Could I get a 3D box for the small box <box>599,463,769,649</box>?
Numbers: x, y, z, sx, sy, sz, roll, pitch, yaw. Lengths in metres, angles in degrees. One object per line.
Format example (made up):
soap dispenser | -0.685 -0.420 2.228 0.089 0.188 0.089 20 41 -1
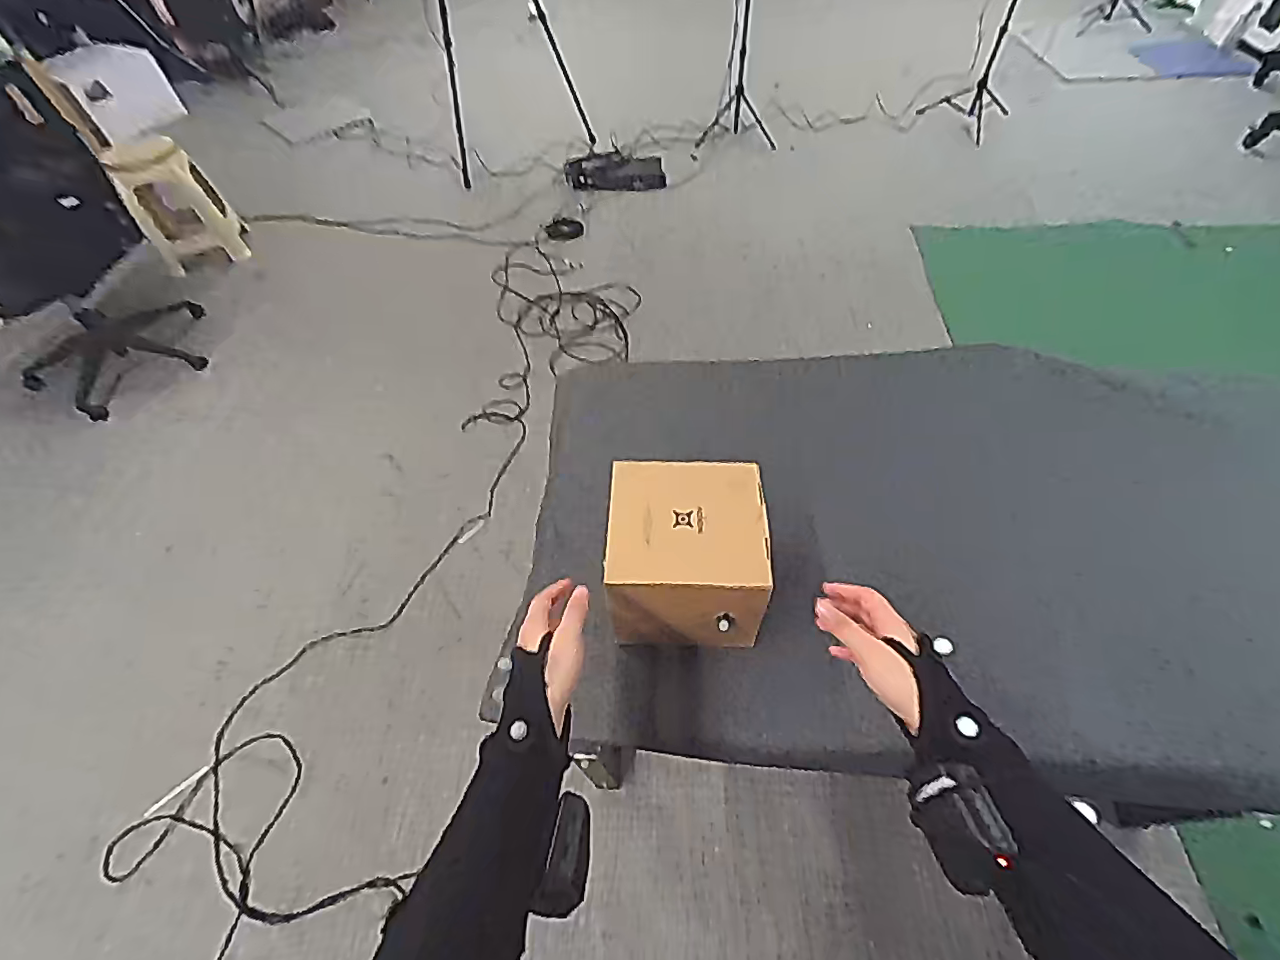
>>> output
small box | 0.050 0.096 0.658 0.179 0.176 0.168 -1 51 4
